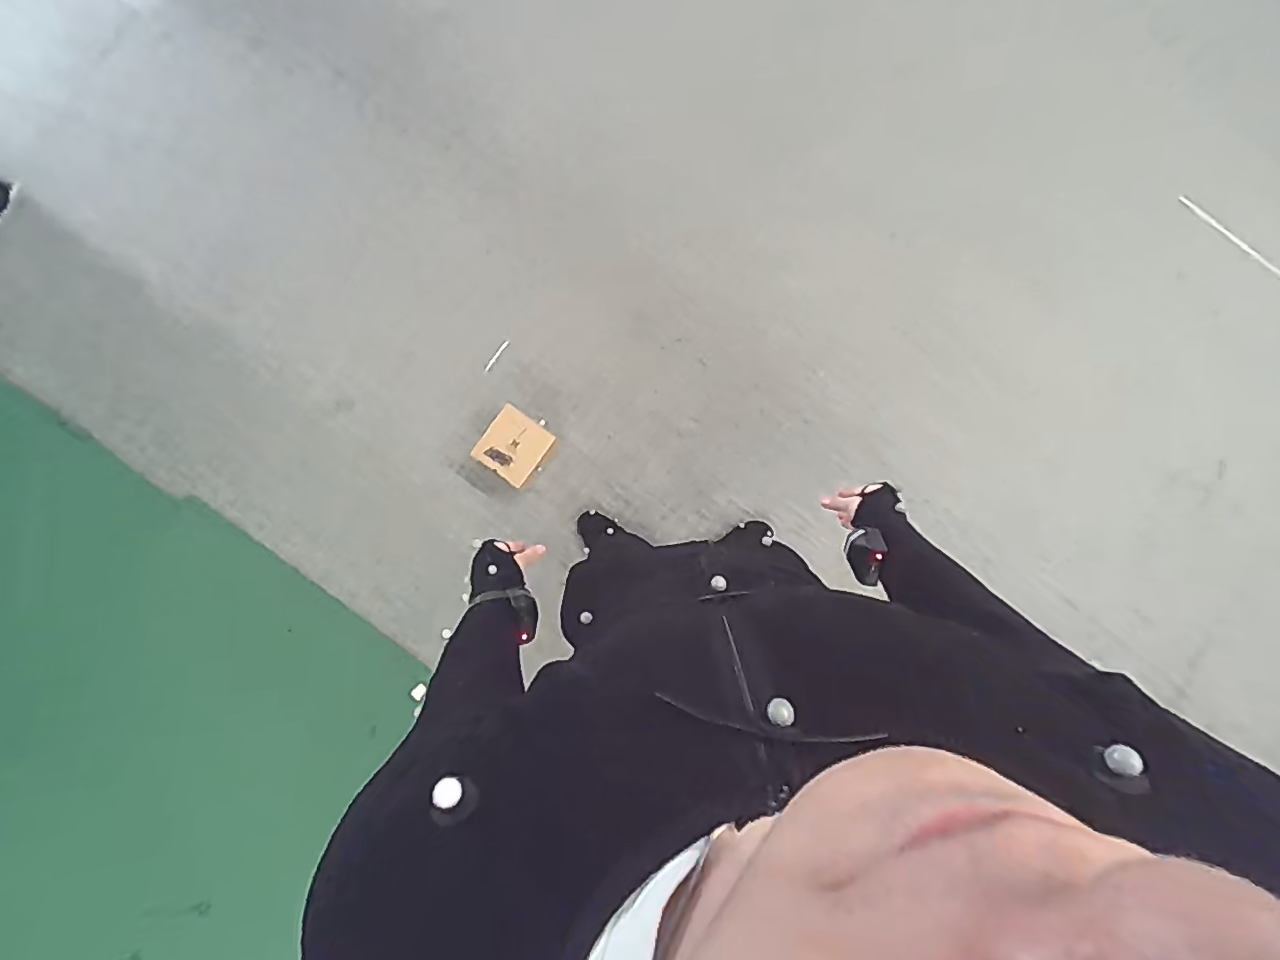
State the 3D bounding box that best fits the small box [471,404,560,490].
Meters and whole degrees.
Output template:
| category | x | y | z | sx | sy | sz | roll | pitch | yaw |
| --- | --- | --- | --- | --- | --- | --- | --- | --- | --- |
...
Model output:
| category | x | y | z | sx | sy | sz | roll | pitch | yaw |
| --- | --- | --- | --- | --- | --- | --- | --- | --- | --- |
| small box | -0.344 | -0.088 | 1.535 | 0.168 | 0.176 | 0.179 | 36 | 89 | -1 |
